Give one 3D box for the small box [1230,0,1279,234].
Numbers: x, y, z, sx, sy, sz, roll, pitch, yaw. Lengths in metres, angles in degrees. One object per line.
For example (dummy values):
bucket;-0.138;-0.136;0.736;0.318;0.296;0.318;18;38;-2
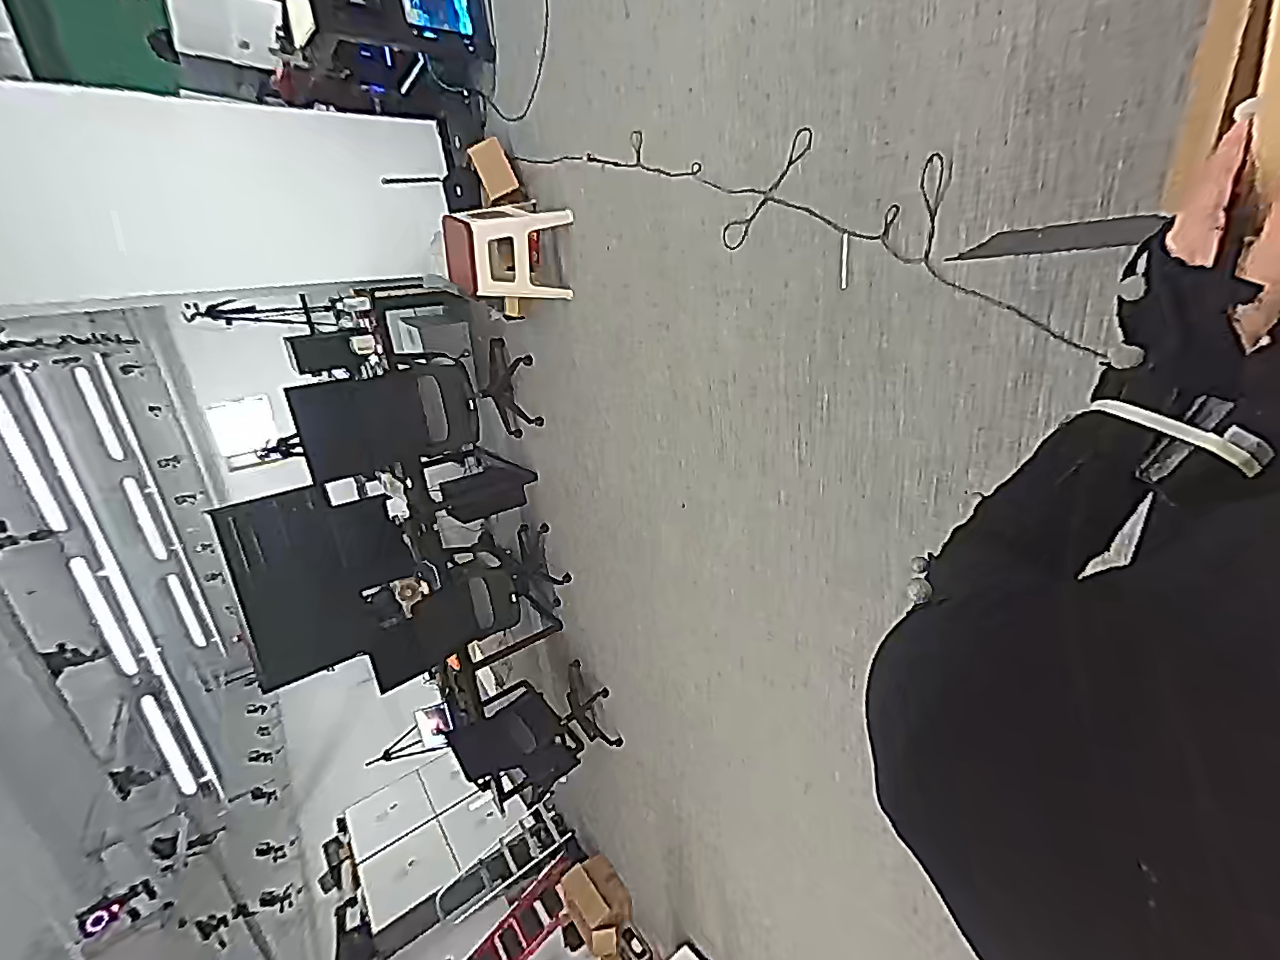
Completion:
small box;0.467;-0.235;0.287;0.179;0.176;0.168;14;115;51
